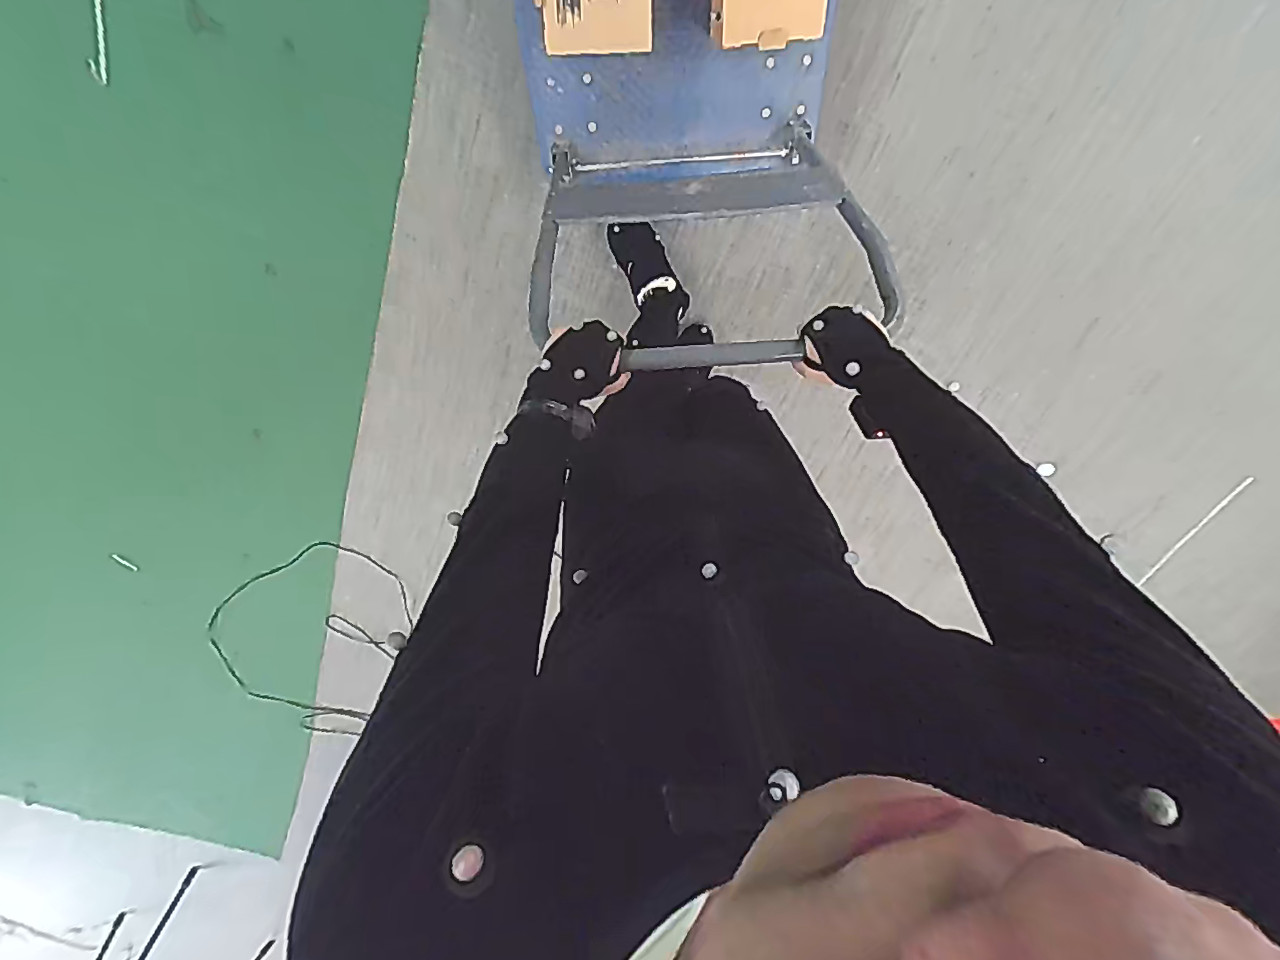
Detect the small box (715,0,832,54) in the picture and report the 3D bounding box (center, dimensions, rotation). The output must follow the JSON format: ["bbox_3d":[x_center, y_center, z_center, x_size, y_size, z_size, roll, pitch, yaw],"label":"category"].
[{"bbox_3d":[0.214,-0.818,0.877,0.168,0.176,0.179,-3,136,2],"label":"small box"}]
